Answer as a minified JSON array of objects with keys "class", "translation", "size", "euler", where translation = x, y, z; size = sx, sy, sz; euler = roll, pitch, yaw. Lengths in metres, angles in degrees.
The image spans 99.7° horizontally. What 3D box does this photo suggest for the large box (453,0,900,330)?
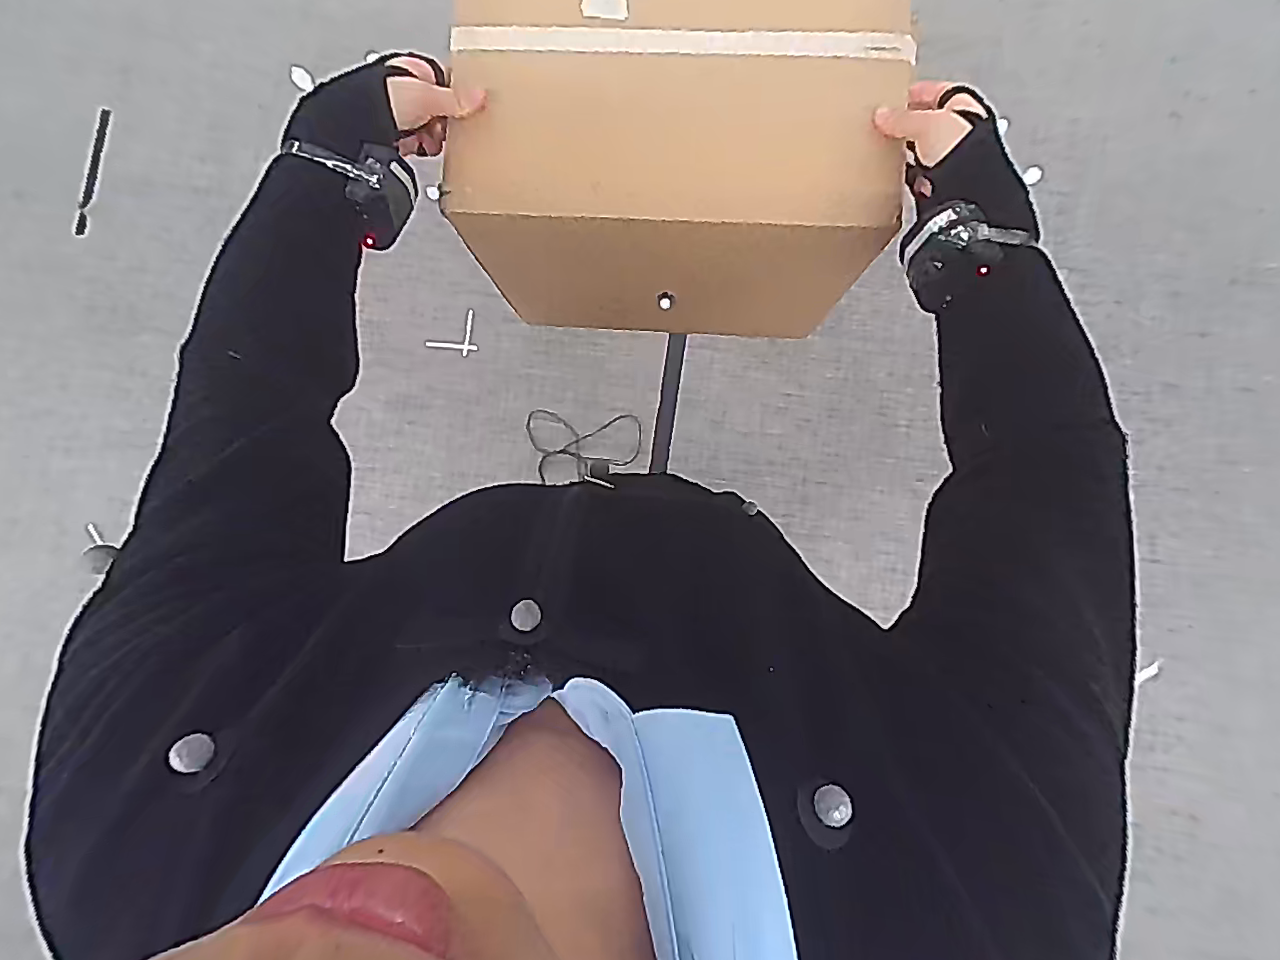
[{"class":"large box","translation":[0.042,-0.375,0.638],"size":[0.408,0.320,0.320],"euler":[3,86,4]}]
